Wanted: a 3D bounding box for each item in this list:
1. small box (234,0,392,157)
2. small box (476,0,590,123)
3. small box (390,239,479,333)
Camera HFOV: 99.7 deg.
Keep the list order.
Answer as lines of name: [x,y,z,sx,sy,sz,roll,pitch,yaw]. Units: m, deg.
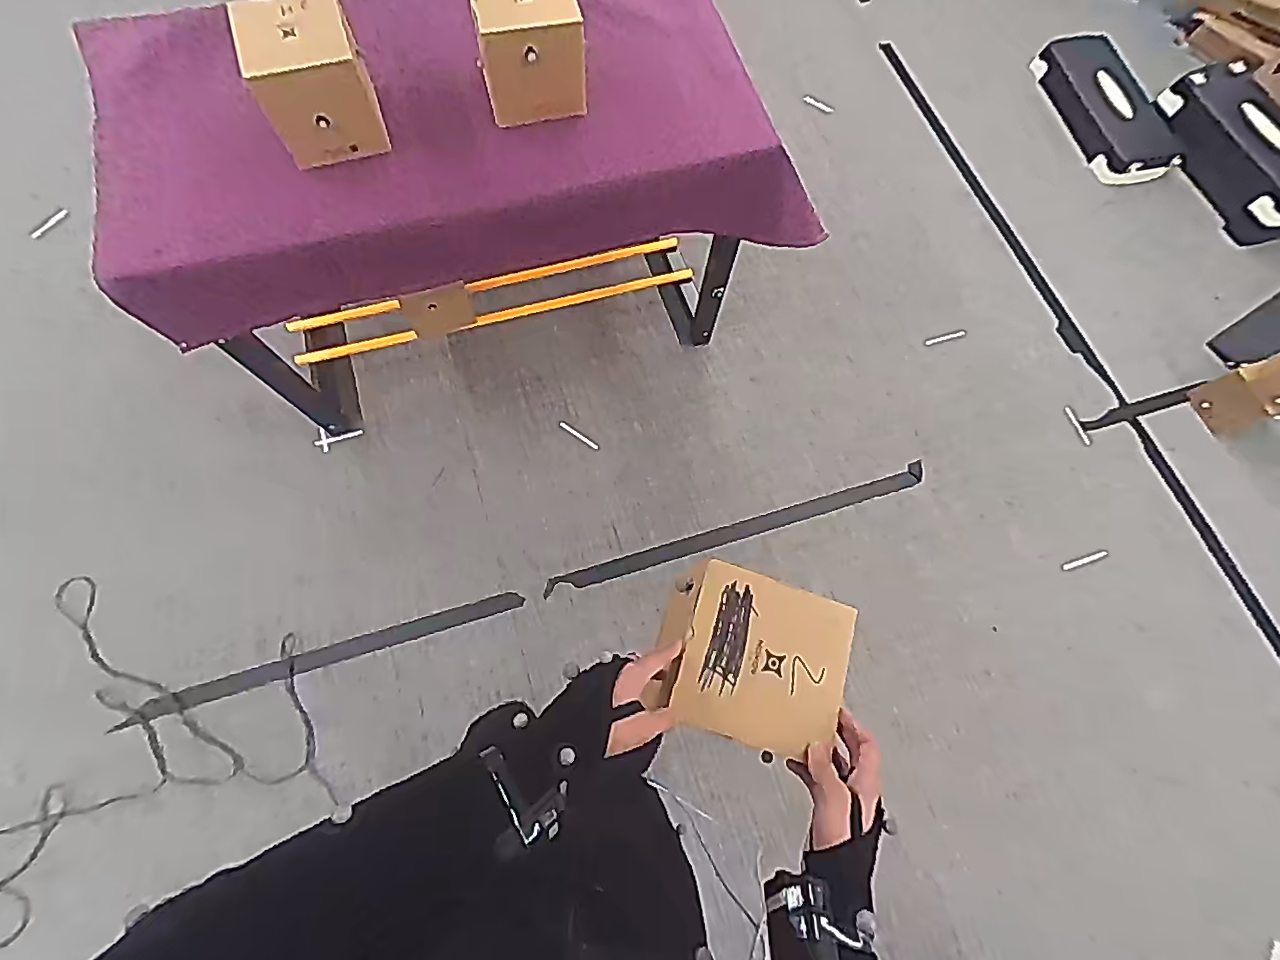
small box: [-0.546,-0.685,0.924,0.168,0.176,0.179,-17,74,-9]
small box: [-0.191,-0.791,0.979,0.179,0.176,0.168,-13,74,-7]
small box: [-0.572,-0.539,1.522,0.179,0.176,0.168,-18,74,-10]
